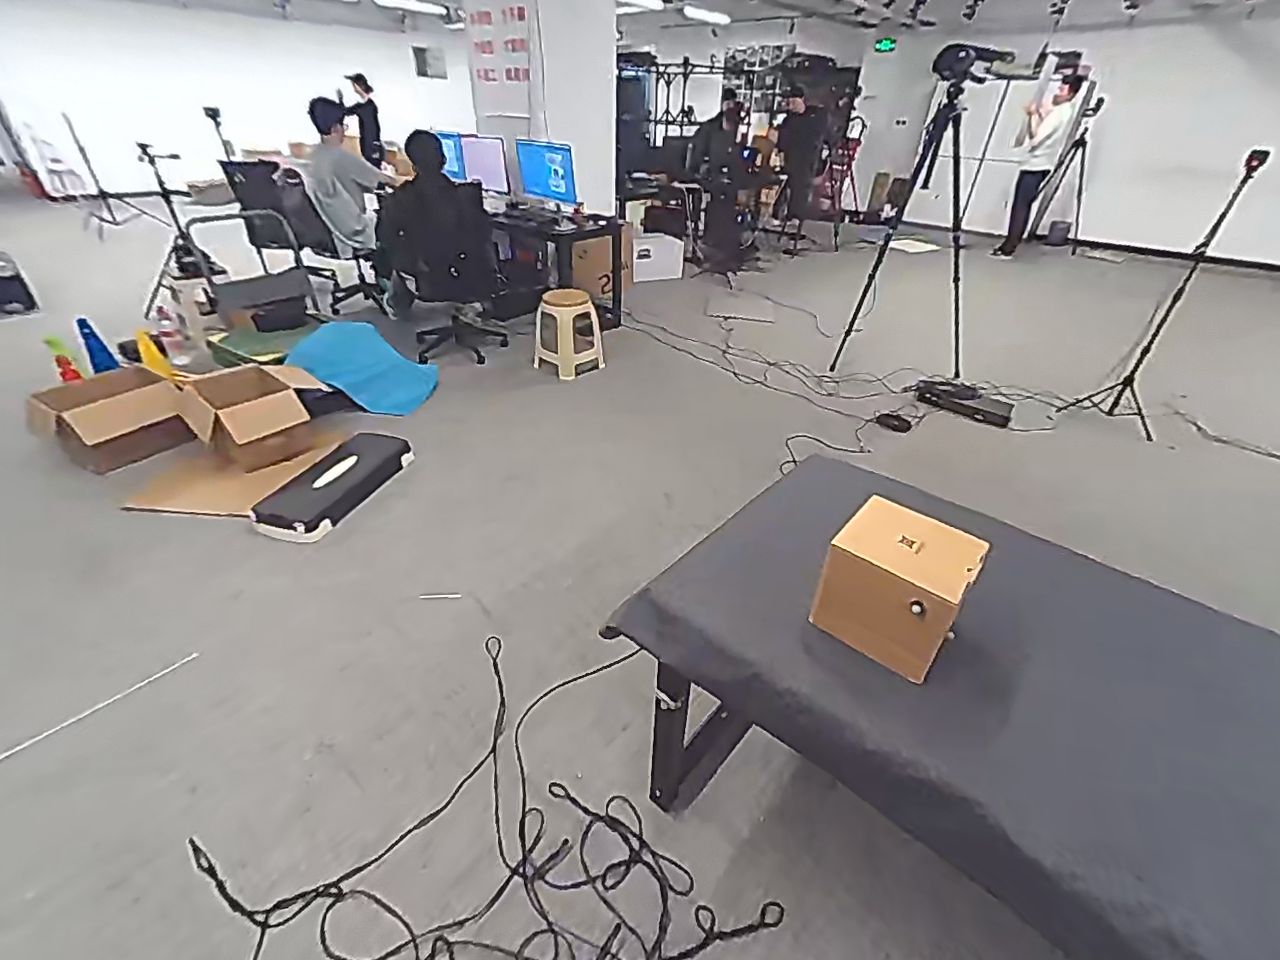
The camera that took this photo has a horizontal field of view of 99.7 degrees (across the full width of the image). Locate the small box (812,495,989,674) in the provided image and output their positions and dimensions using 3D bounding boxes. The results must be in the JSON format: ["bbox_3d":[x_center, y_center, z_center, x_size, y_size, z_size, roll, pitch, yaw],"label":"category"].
[{"bbox_3d":[0.385,0.155,0.820,0.179,0.176,0.168,27,42,32],"label":"small box"}]
